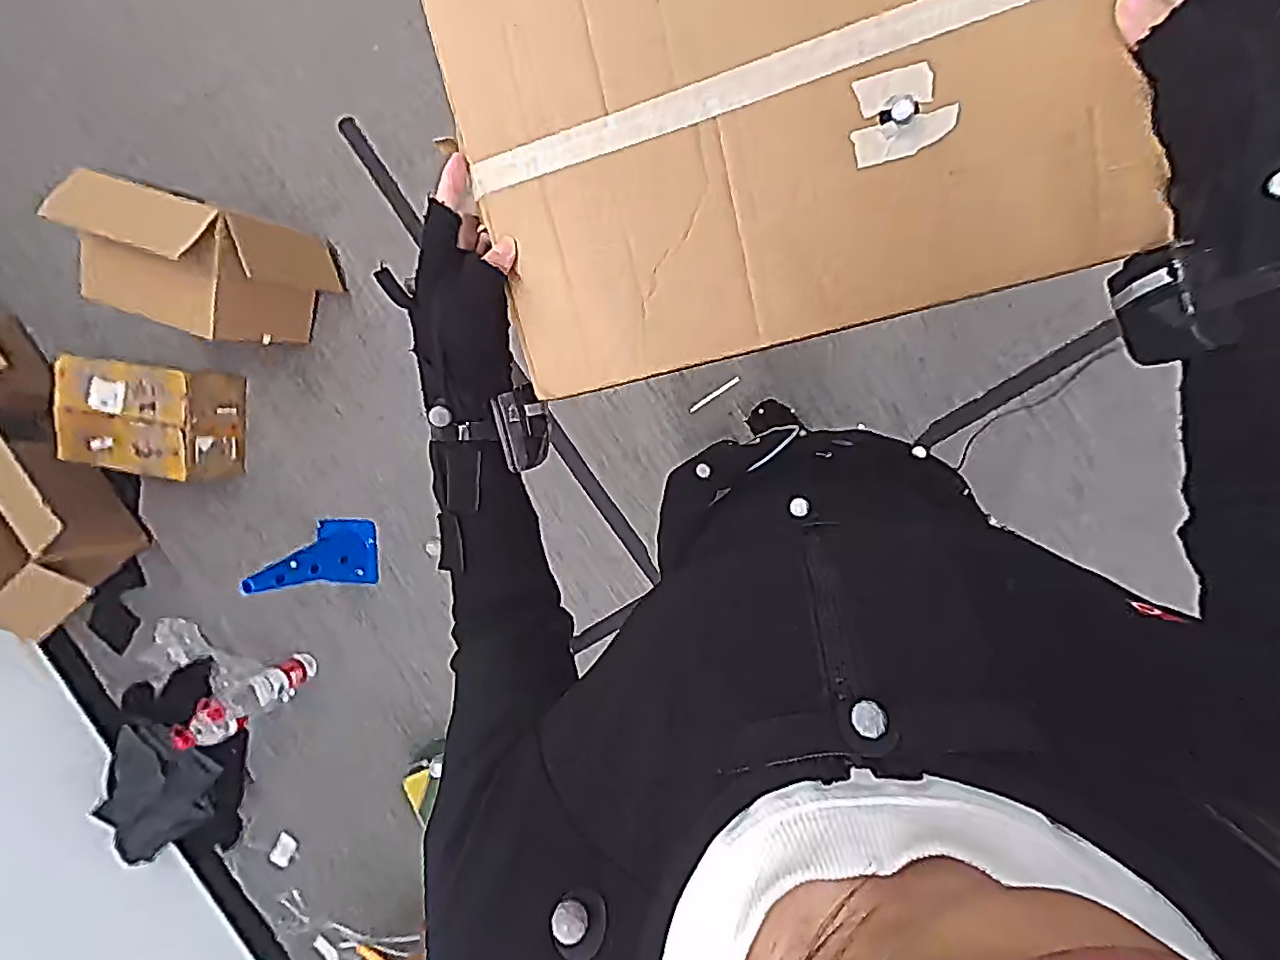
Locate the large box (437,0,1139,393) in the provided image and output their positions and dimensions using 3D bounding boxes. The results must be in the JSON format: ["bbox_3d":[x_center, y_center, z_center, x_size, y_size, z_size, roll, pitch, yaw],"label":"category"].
[{"bbox_3d":[0.103,-0.283,0.489,0.408,0.320,0.320,-12,102,11],"label":"large box"}]
